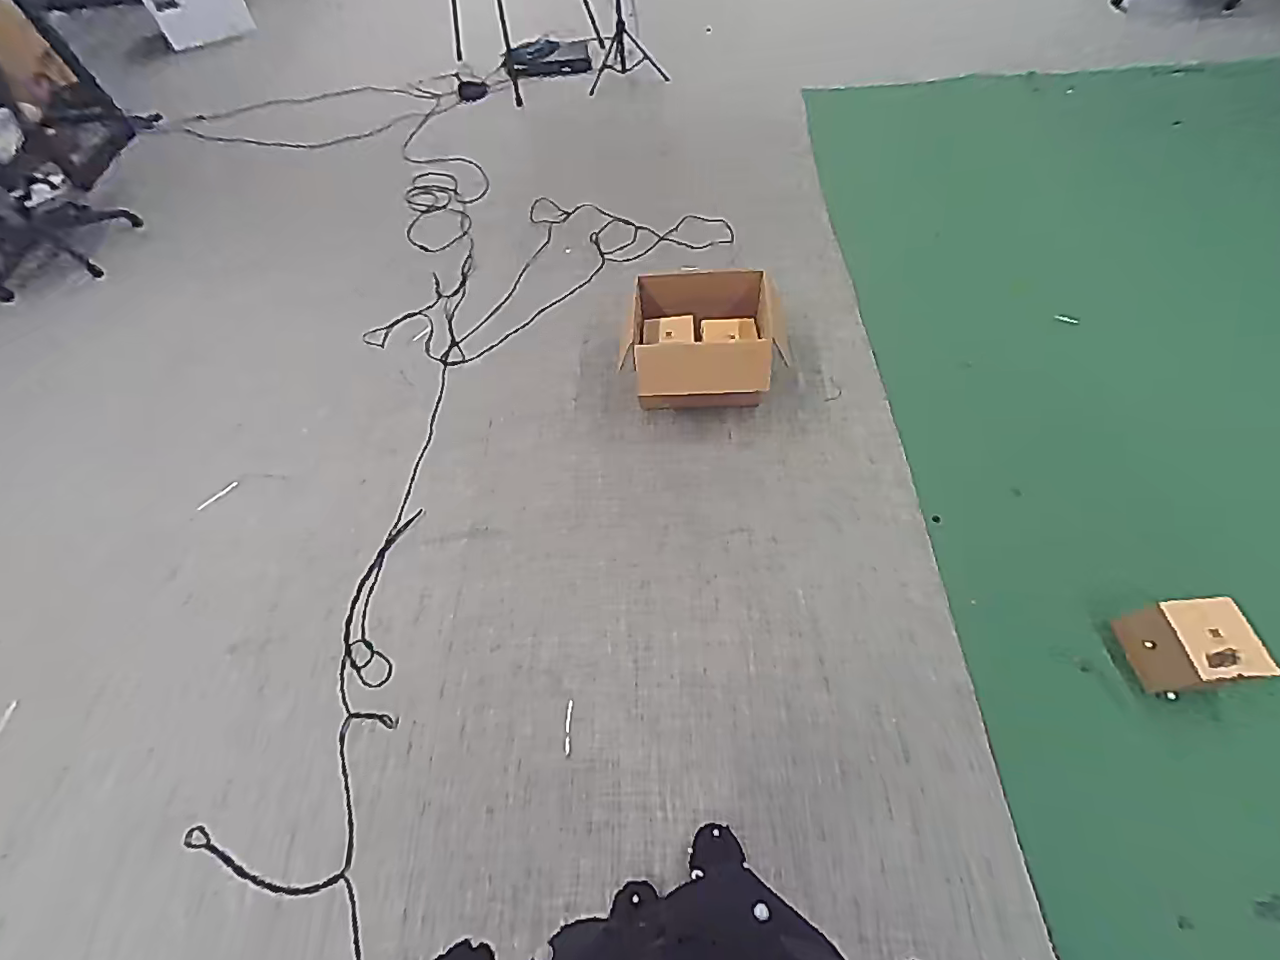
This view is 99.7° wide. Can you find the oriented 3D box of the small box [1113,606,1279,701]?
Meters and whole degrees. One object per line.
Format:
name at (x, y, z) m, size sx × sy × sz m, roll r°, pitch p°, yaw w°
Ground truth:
small box at (1.266, 0.406, 1.249) m, size 0.168 × 0.176 × 0.179 m, roll -4°, pitch 57°, yaw 2°
